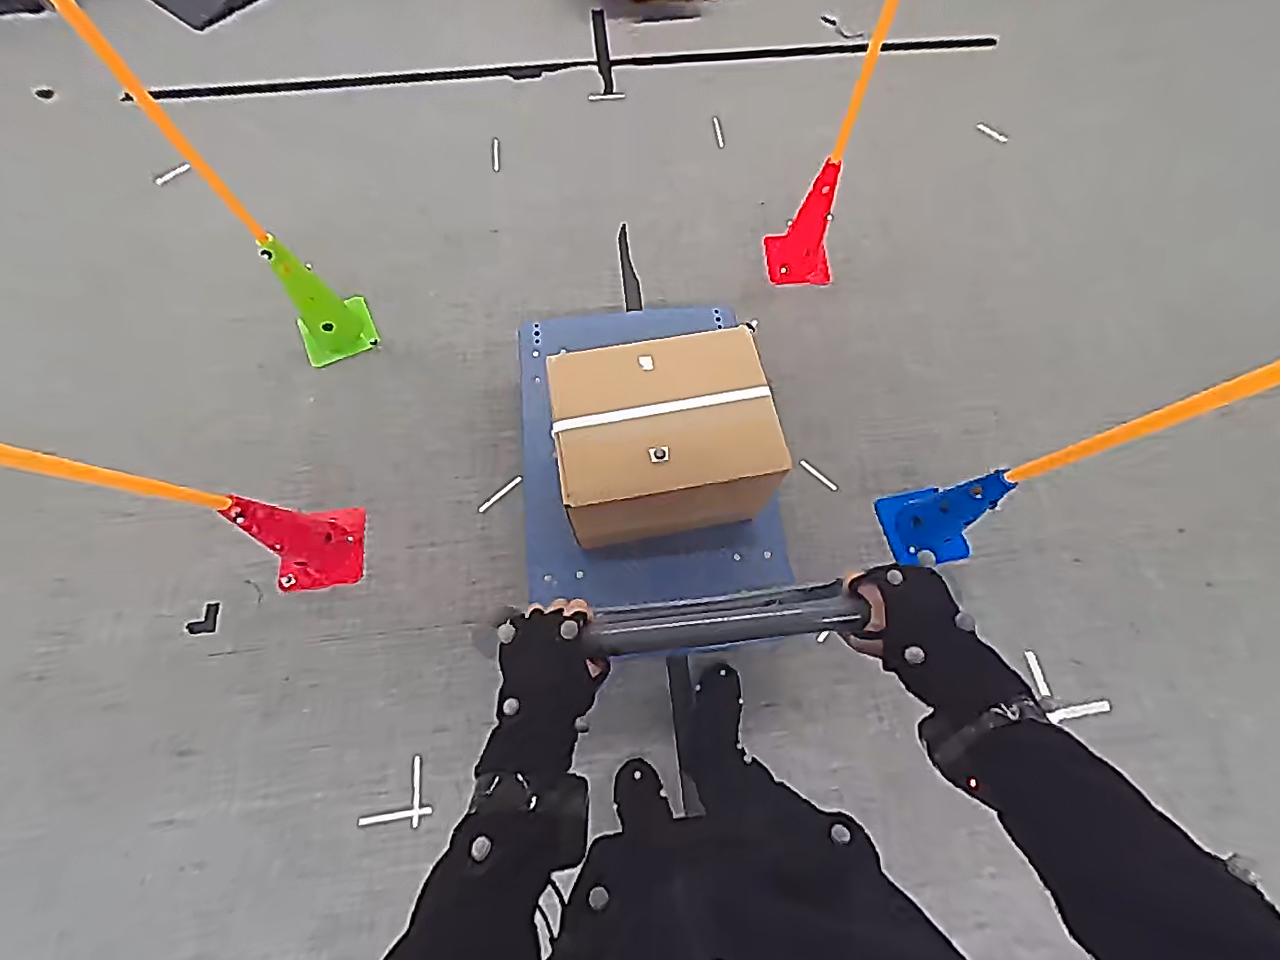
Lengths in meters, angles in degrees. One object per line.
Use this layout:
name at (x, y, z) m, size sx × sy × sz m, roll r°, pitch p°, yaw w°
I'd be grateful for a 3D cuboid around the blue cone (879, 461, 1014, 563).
blue cone at (0.746, 0.057, 1.270) m, size 0.193 × 0.380 × 0.192 m, roll -9°, pitch 68°, yaw -5°

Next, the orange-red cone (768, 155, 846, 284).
orange-red cone at (0.517, -0.771, 1.572) m, size 0.199 × 0.360 × 0.198 m, roll 1°, pitch 69°, yaw -2°
